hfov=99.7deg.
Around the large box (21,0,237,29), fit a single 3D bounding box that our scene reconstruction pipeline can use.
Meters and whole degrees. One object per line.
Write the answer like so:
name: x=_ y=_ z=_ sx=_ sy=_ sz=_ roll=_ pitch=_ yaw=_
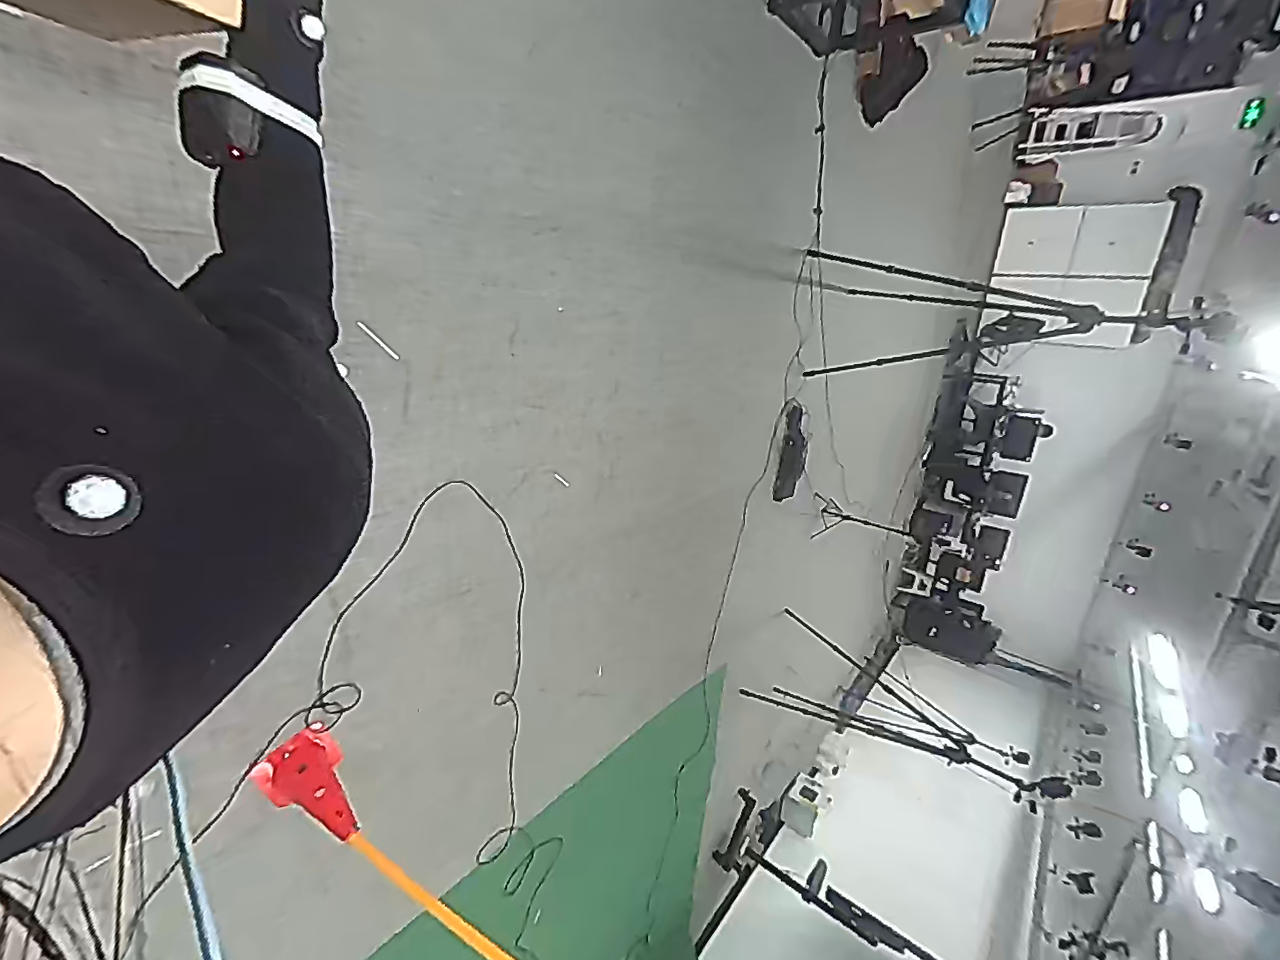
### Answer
large box: x=-0.498 y=-0.496 z=0.266 sx=0.408 sy=0.320 sz=0.320 roll=-15 pitch=124 yaw=-52
